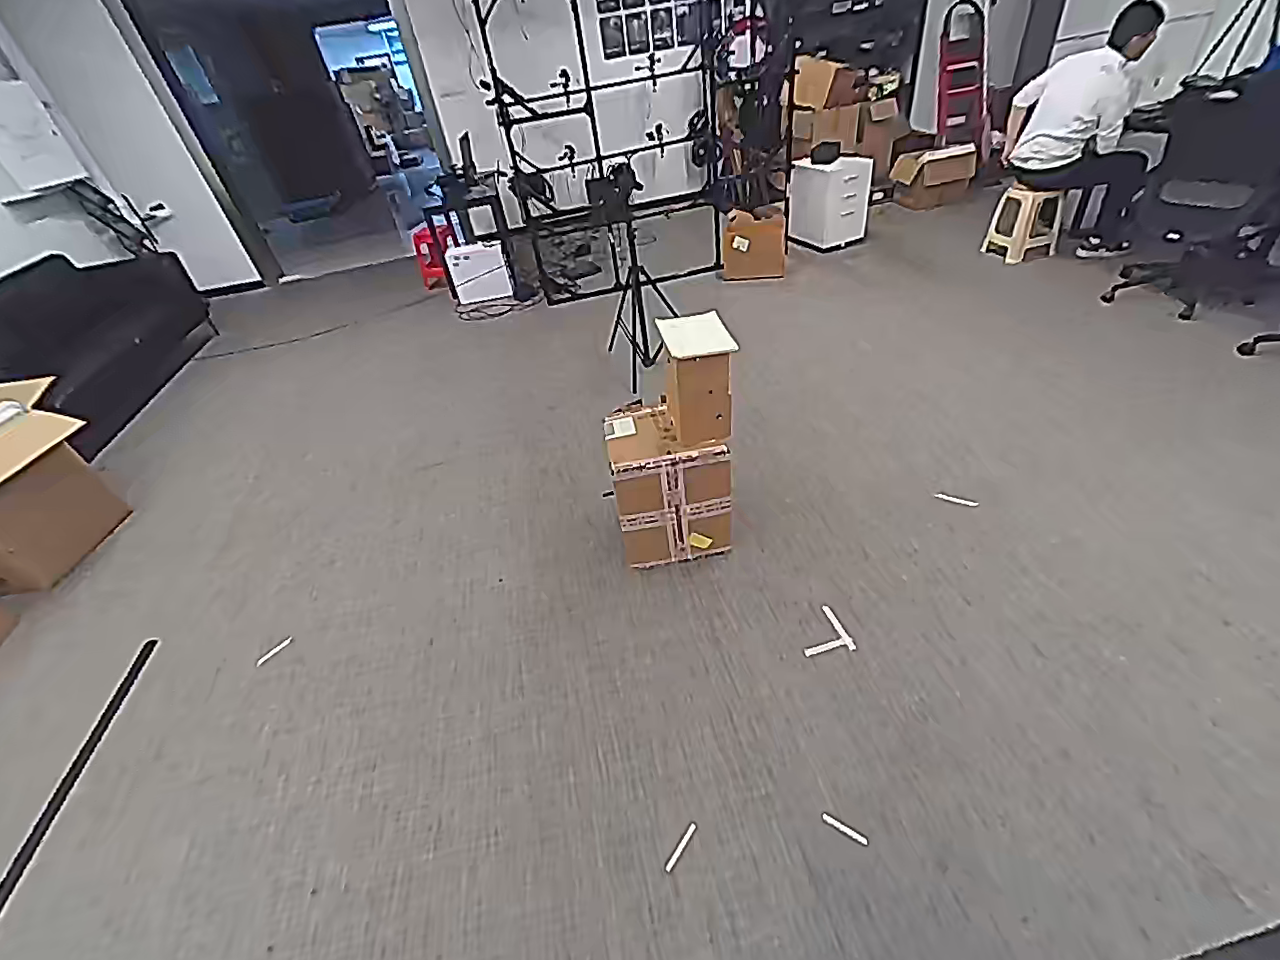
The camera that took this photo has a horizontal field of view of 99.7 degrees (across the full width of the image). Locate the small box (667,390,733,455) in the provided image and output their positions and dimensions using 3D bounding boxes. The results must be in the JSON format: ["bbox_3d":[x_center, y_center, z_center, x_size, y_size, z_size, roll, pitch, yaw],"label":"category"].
[{"bbox_3d":[0.197,-0.205,1.786,0.179,0.176,0.168,-14,40,-7],"label":"small box"}]

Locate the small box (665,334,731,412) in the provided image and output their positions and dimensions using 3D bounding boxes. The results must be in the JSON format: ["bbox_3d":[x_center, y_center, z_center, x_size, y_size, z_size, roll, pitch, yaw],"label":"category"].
[{"bbox_3d":[0.178,-0.336,1.688,0.168,0.176,0.179,-11,39,-6],"label":"small box"}]
